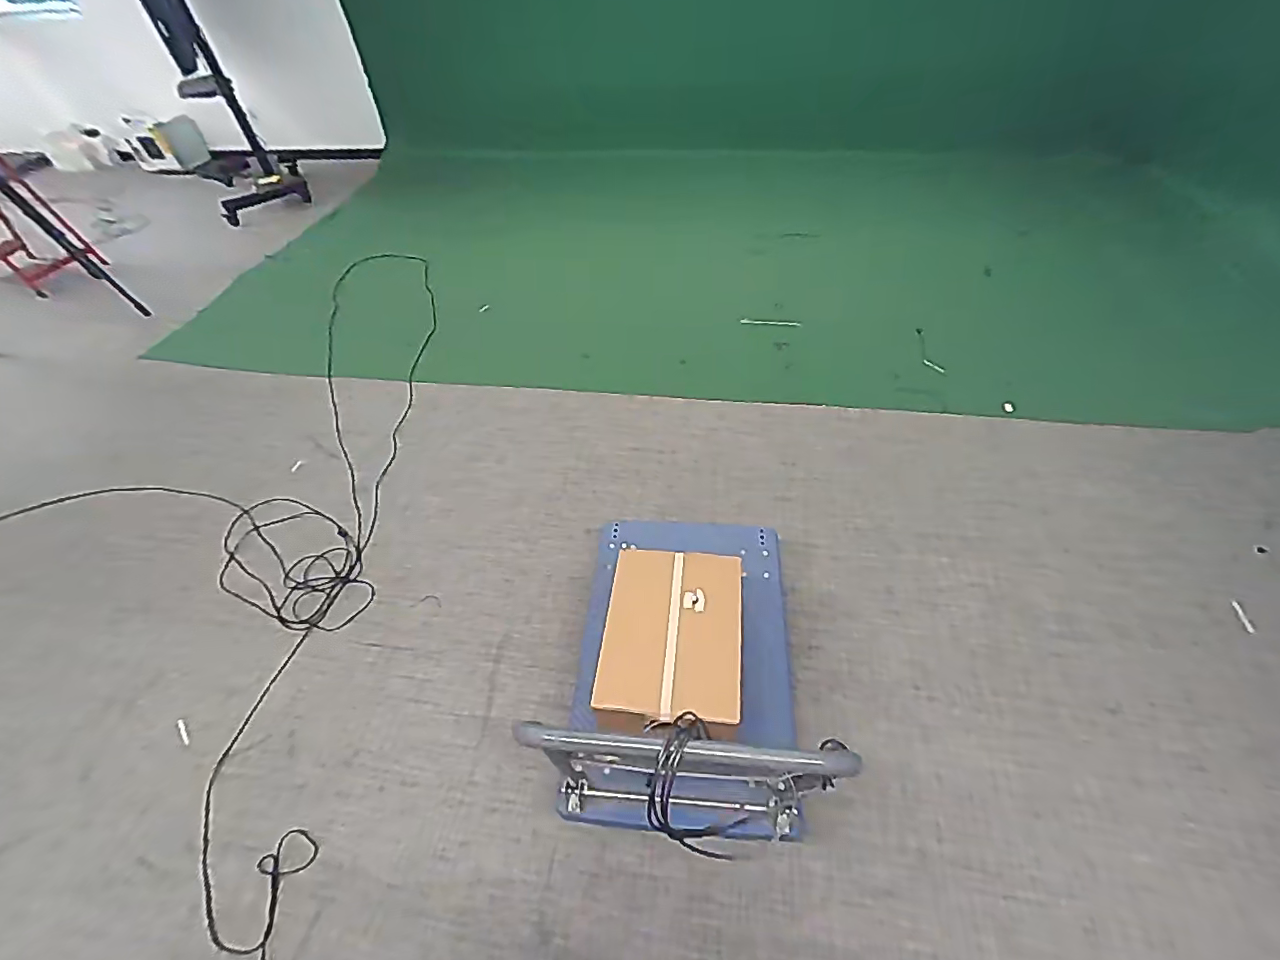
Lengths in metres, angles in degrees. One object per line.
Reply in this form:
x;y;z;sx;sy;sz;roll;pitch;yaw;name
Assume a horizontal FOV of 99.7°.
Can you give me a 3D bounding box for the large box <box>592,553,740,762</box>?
0.080;0.442;1.357;0.320;0.320;0.408;4;48;7;large box
